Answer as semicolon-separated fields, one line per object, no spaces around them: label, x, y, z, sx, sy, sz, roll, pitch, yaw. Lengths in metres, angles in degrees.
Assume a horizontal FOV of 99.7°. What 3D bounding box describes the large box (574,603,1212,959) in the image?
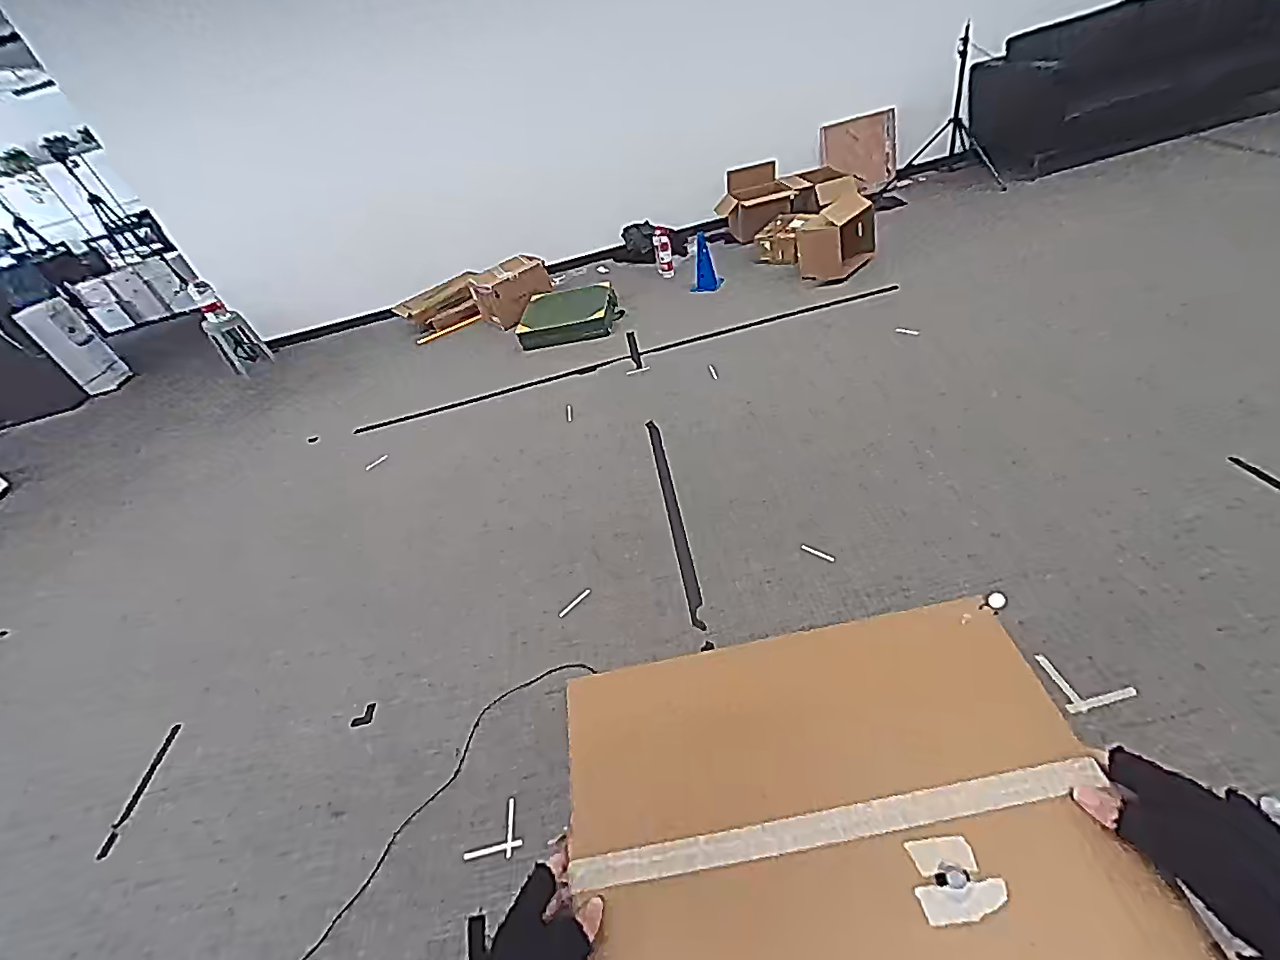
large box;0.174;0.371;0.526;0.408;0.320;0.320;-13;46;1
